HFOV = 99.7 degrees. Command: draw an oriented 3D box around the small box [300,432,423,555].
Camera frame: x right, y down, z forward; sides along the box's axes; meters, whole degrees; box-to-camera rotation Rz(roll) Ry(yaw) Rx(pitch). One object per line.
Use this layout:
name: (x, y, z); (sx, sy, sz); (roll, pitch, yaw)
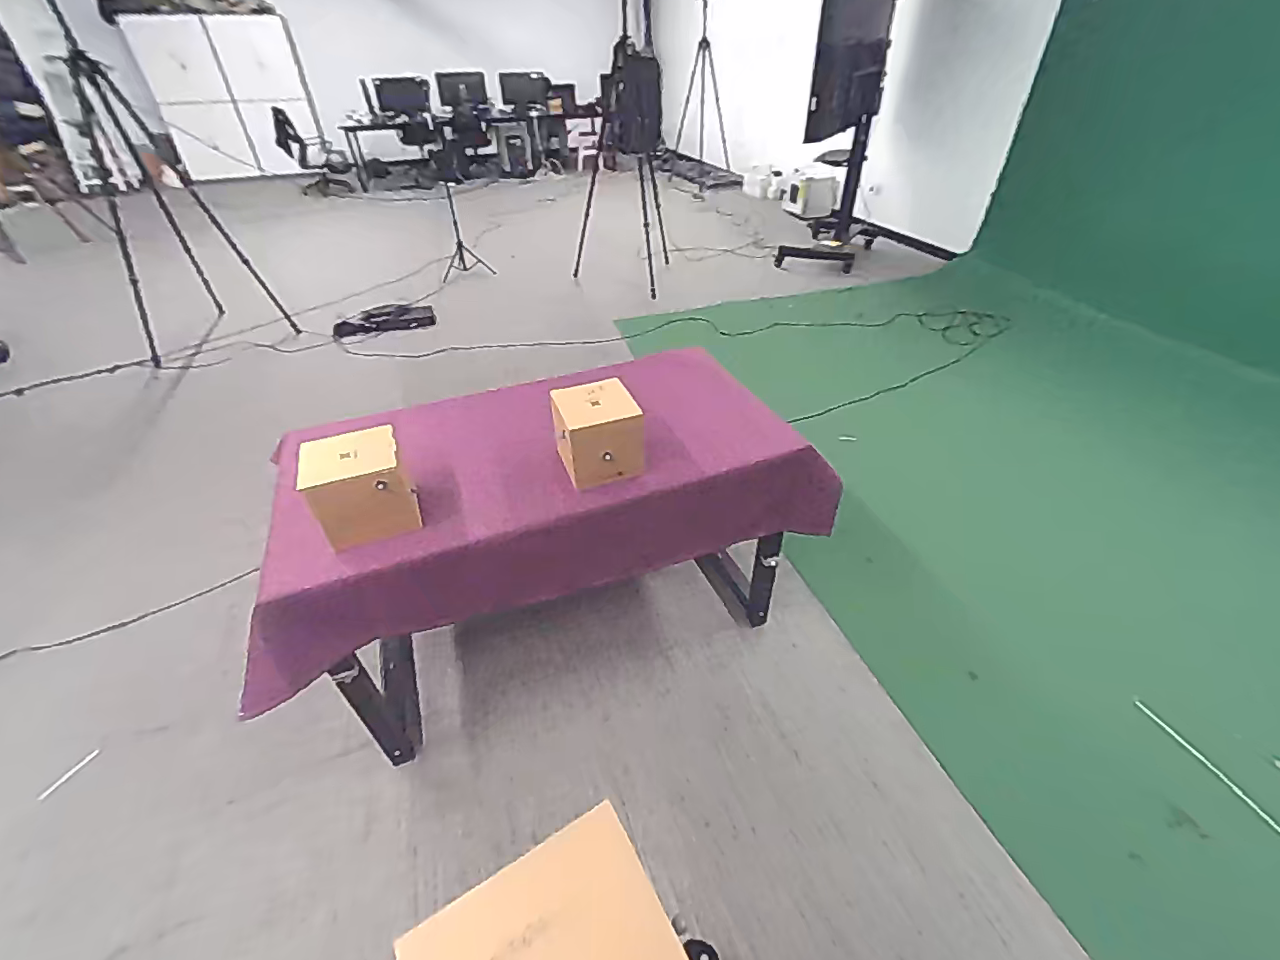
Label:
small box: (-0.564, 0.028, 1.110); (0.179, 0.176, 0.168); (-16, 40, -18)

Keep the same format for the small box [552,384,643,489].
small box: (-0.095, -0.095, 1.241); (0.168, 0.176, 0.179); (-14, 40, -15)
